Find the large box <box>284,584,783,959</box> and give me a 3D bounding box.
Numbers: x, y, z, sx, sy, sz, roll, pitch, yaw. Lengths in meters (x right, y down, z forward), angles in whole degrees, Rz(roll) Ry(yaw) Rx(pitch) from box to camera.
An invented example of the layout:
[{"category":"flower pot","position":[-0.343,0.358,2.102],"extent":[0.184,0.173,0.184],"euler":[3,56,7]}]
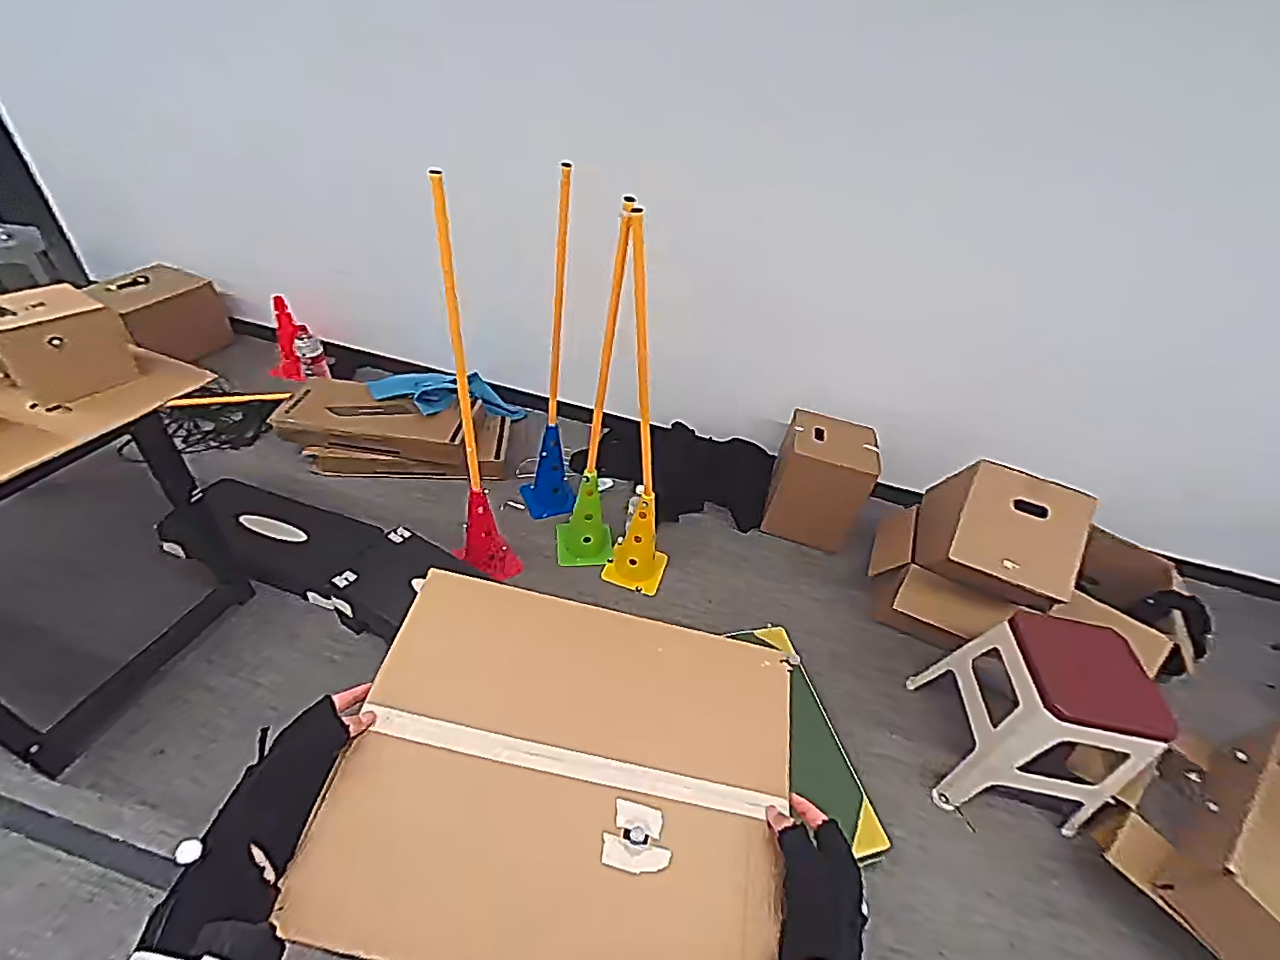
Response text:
[{"category":"large box","position":[-0.082,0.364,0.625],"extent":[0.408,0.320,0.320],"euler":[14,52,0]}]
